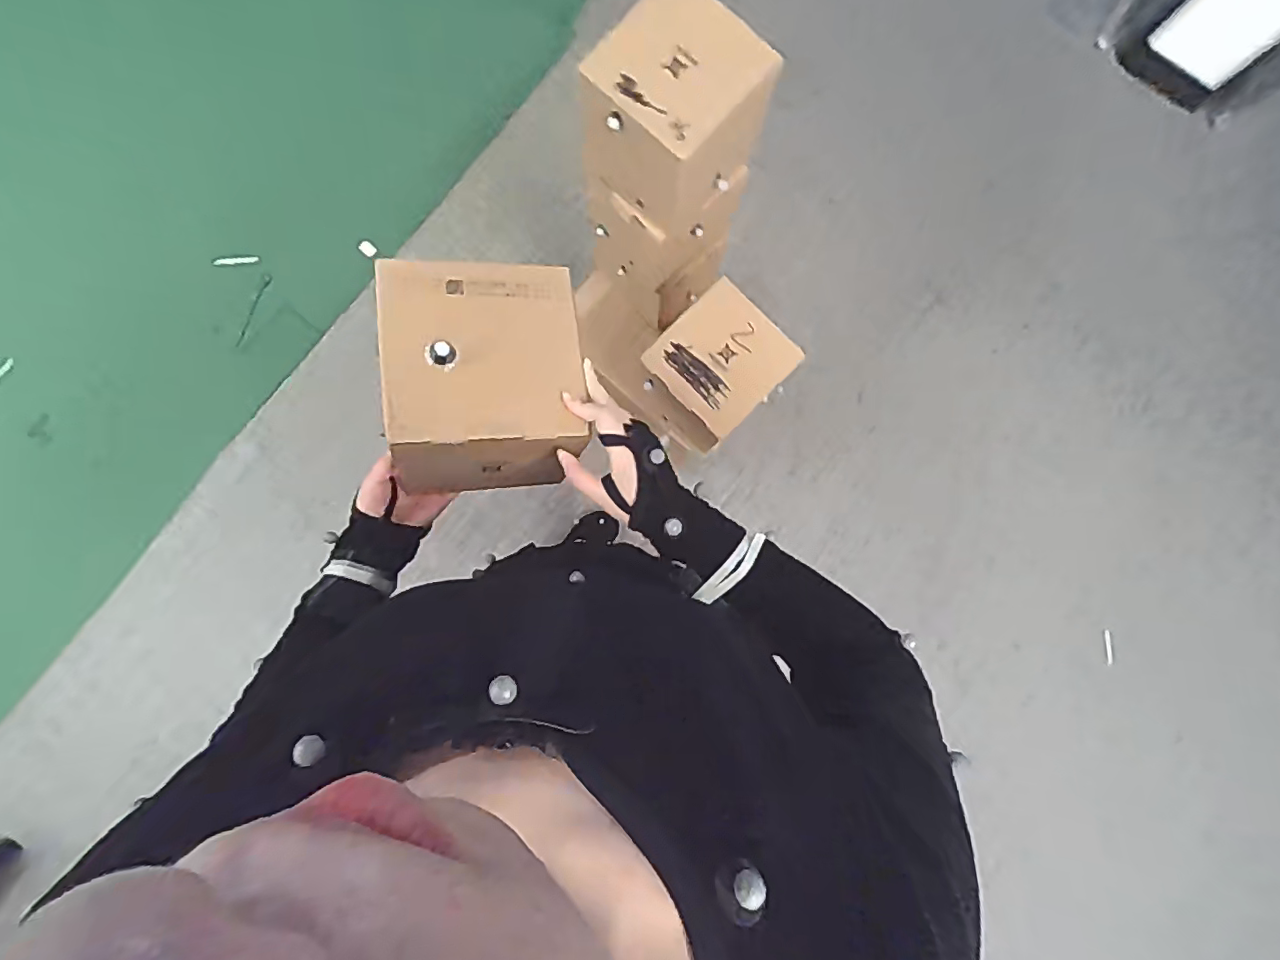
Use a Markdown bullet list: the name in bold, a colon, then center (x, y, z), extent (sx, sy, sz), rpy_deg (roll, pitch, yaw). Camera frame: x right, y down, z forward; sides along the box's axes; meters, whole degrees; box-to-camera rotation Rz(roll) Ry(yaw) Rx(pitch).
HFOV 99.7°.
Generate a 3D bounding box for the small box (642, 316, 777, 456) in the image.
- **small box**: center (0.120, -0.162, 1.003), extent (0.168, 0.176, 0.179), rpy_deg (40, 86, 2)

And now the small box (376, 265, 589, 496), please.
- **small box**: center (-0.159, -0.091, 0.537), extent (0.168, 0.179, 0.176), rpy_deg (-5, 77, -20)

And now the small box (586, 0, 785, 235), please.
- **small box**: center (0.048, -0.464, 0.696), extent (0.168, 0.176, 0.179), rpy_deg (44, 85, 3)

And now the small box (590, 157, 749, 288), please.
- **small box**: center (0.043, -0.442, 0.859), extent (0.179, 0.176, 0.168), rpy_deg (-39, 87, -5)

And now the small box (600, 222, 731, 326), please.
- **small box**: center (0.041, -0.425, 1.023), extent (0.168, 0.176, 0.179), rpy_deg (-41, 88, -3)
